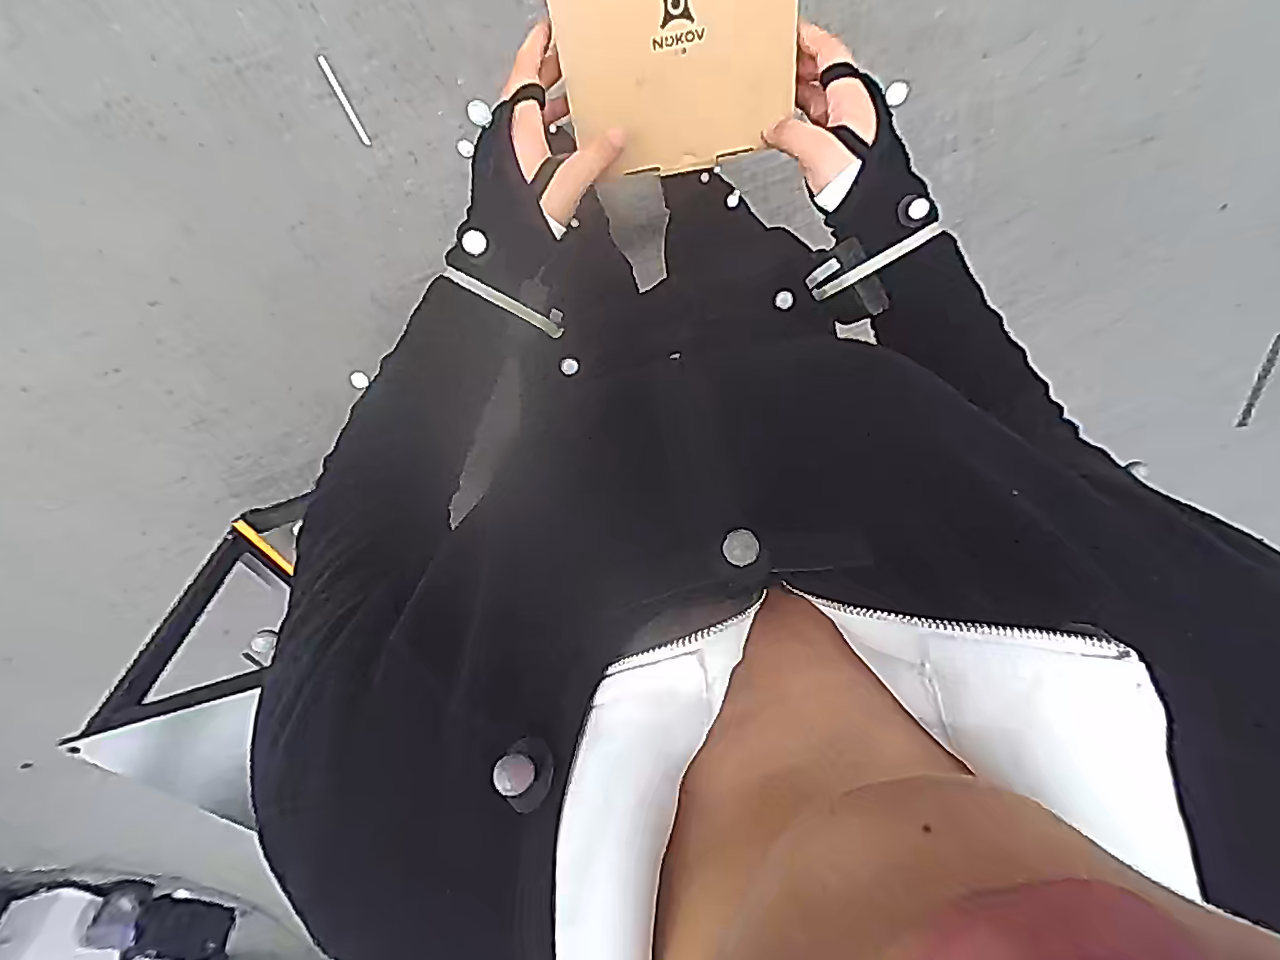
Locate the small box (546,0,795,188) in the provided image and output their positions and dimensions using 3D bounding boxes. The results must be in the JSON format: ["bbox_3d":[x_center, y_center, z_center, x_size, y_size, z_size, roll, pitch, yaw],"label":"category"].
[{"bbox_3d":[0.017,-0.360,0.423,0.168,0.176,0.179,-10,134,3],"label":"small box"}]
